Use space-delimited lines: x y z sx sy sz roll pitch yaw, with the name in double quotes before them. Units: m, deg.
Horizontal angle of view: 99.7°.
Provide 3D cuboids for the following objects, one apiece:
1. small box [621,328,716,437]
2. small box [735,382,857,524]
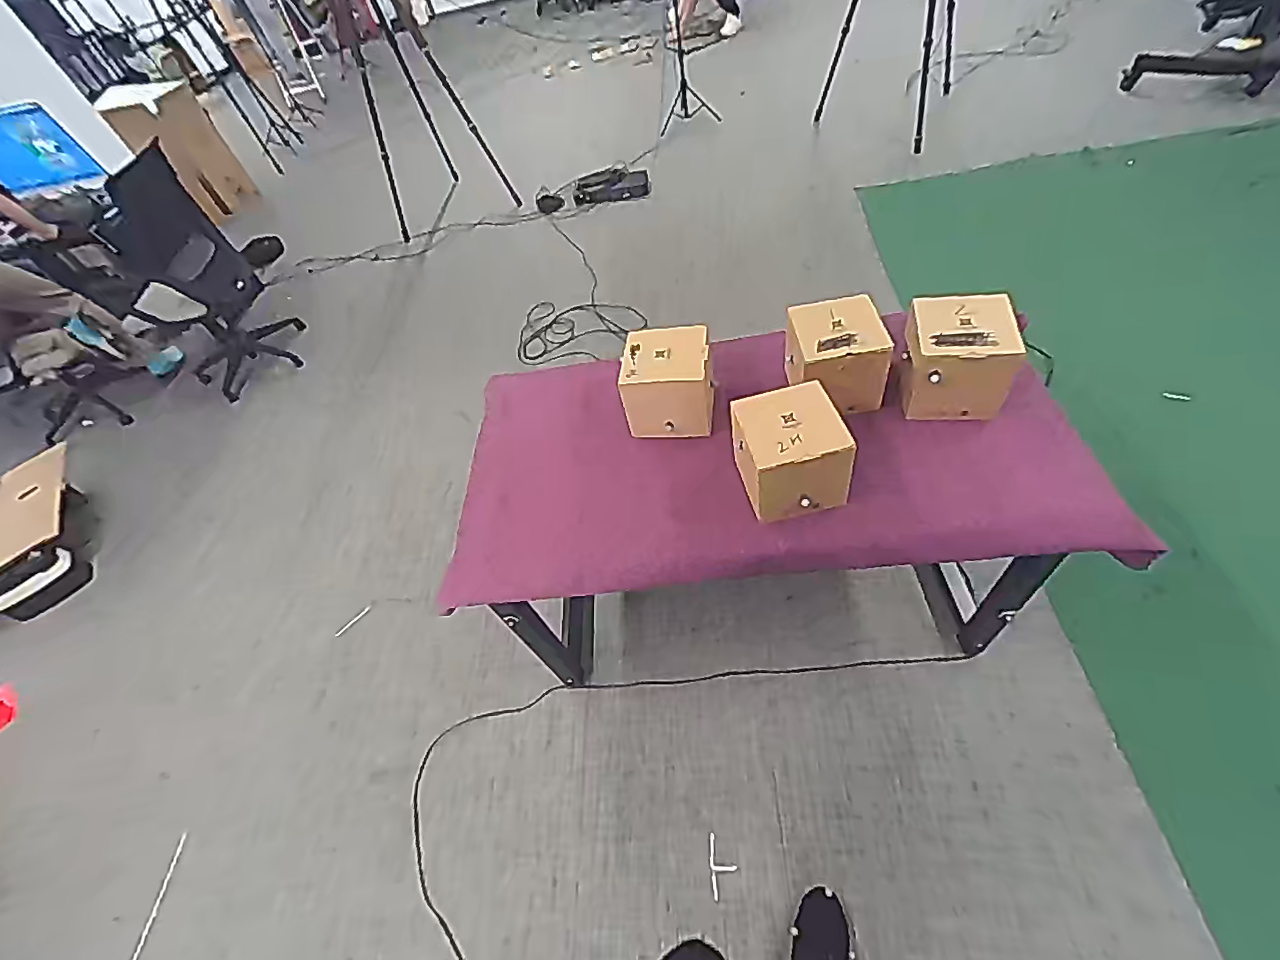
"small box" 0.071 -0.207 1.167 0.179 0.176 0.168 0 54 13
"small box" 0.277 -0.047 0.995 0.168 0.176 0.179 -14 50 3
